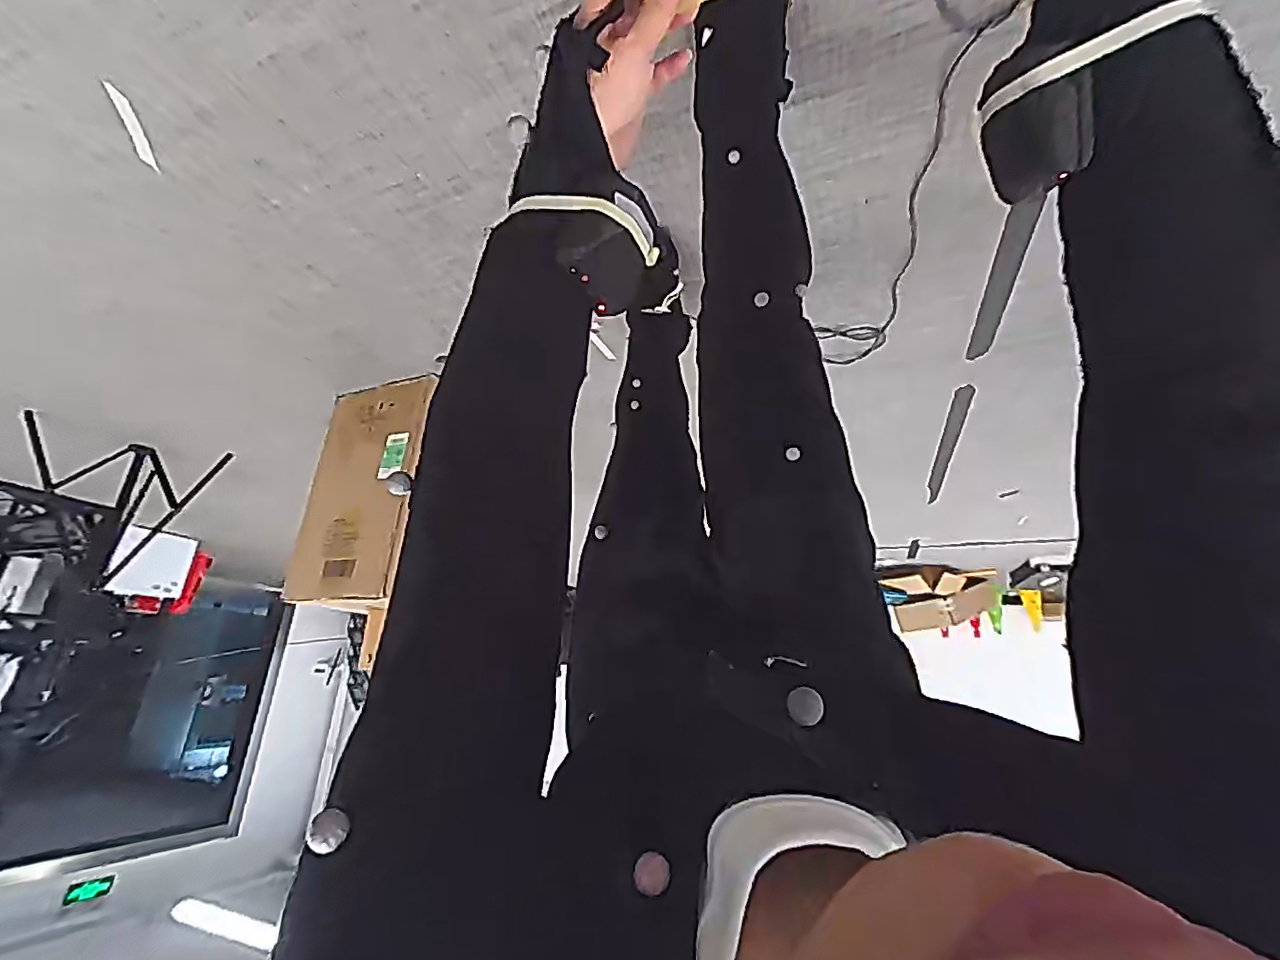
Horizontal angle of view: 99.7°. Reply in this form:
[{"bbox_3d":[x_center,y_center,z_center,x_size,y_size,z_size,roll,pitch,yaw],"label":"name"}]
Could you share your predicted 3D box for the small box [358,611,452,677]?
[{"bbox_3d":[-0.651,0.461,1.518,0.179,0.176,0.168,-5,159,21],"label":"small box"}]
